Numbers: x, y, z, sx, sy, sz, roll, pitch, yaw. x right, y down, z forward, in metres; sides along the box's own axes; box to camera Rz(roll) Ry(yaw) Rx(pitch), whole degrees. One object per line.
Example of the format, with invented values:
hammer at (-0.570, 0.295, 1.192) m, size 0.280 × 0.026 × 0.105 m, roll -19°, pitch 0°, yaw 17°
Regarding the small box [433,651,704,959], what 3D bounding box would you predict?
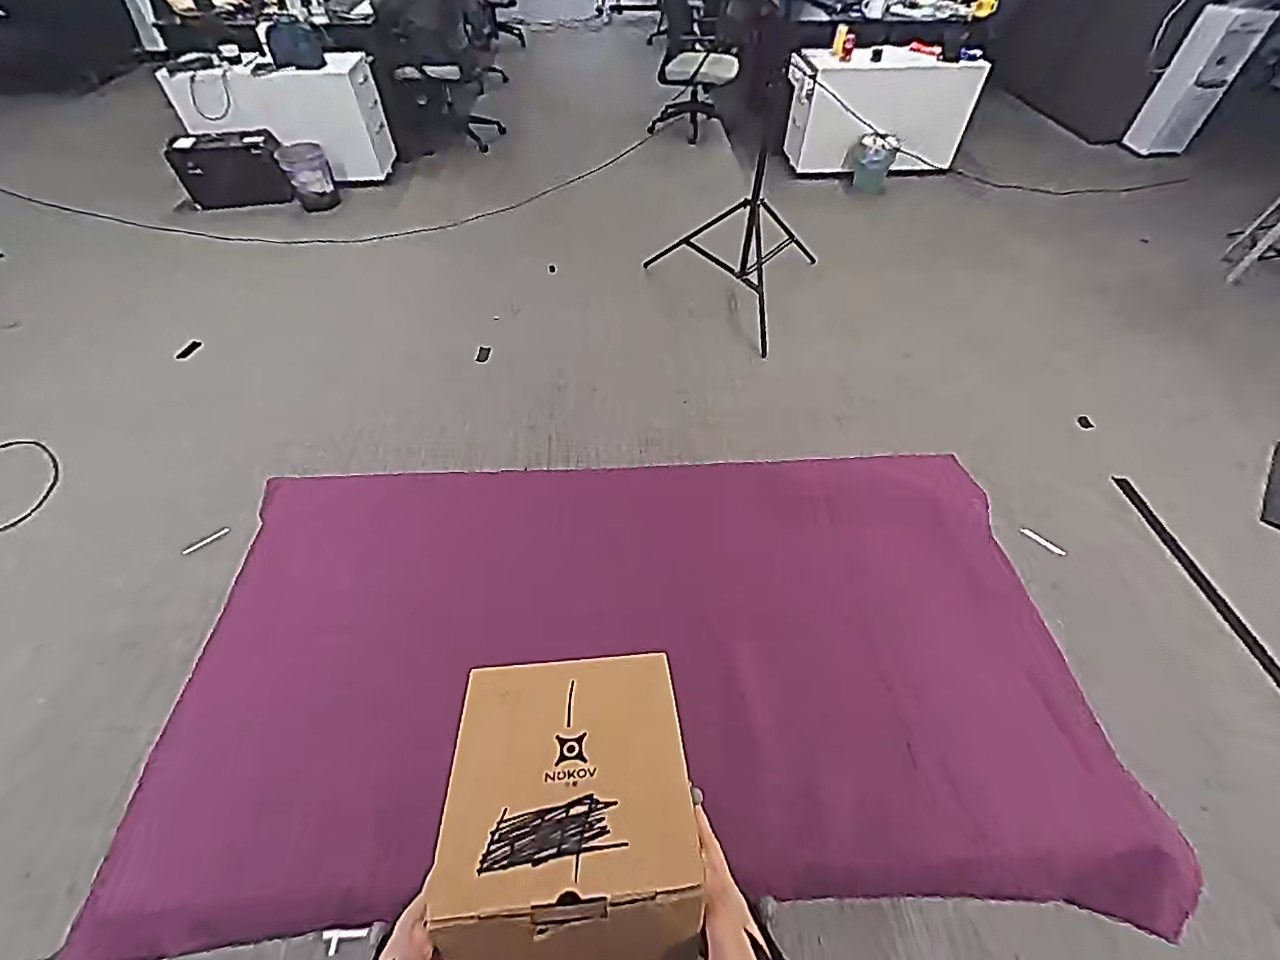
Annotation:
small box at (-0.046, 0.266, 0.431) m, size 0.168 × 0.176 × 0.179 m, roll -4°, pitch 33°, yaw -5°
